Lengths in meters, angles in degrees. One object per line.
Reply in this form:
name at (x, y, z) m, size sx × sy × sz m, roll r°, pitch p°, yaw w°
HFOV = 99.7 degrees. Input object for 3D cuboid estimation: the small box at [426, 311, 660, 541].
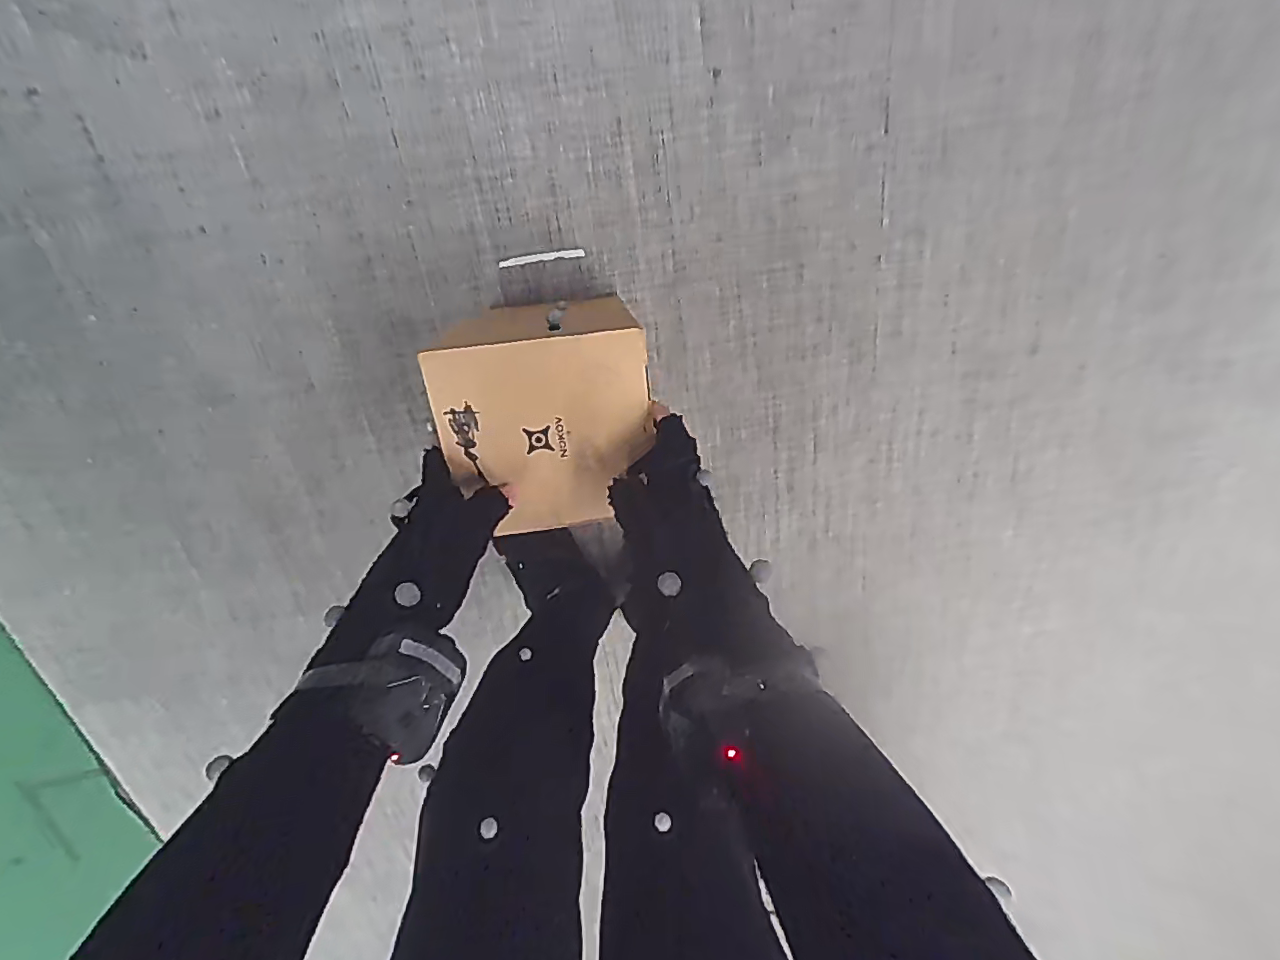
small box at (-0.083, -0.062, 0.522) m, size 0.179 × 0.176 × 0.168 m, roll -7°, pitch 115°, yaw -4°
